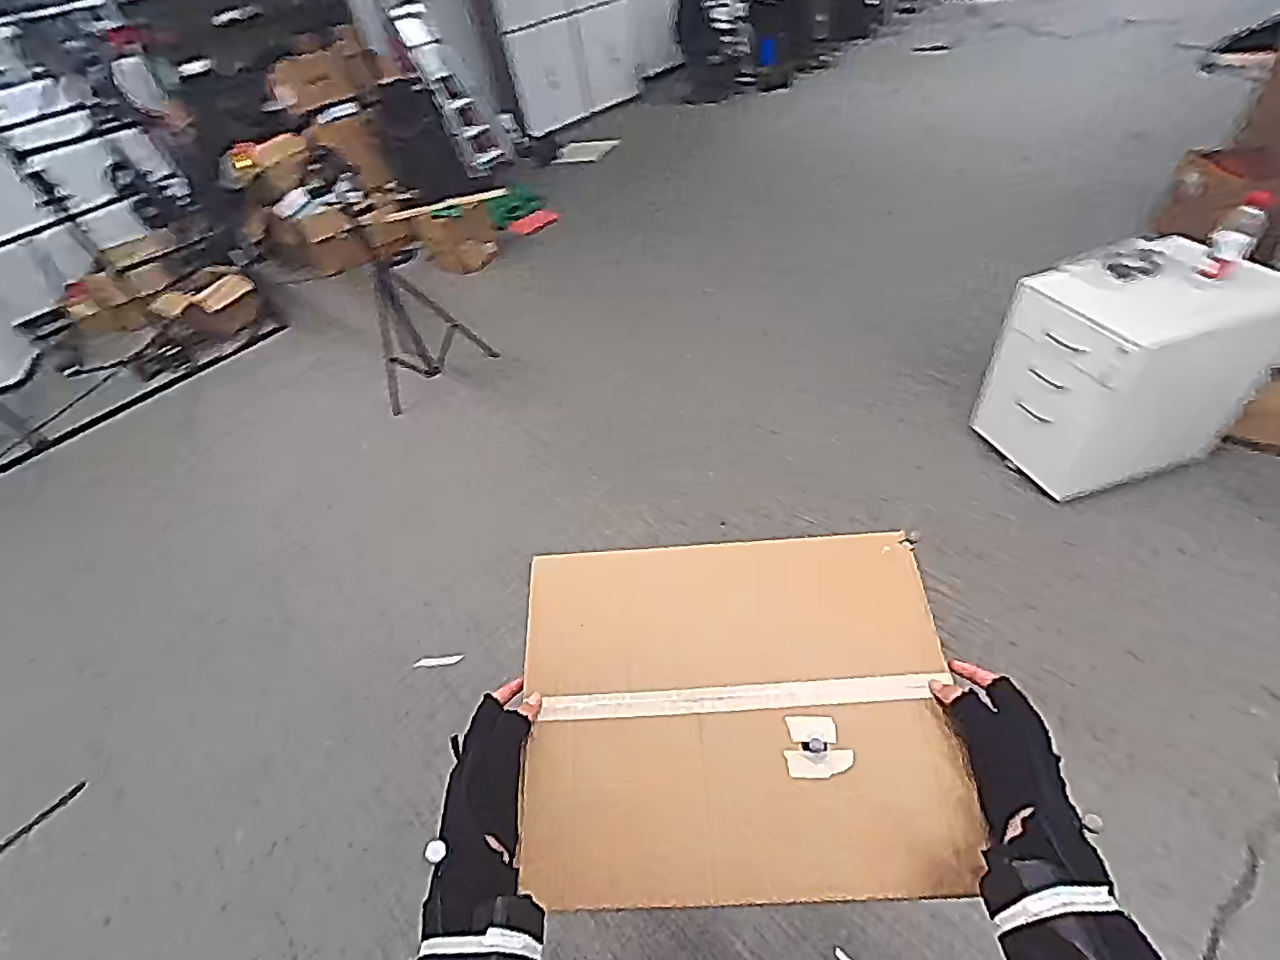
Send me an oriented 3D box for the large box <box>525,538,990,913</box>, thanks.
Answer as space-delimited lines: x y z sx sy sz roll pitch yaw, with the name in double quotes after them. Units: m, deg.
0.096 0.288 0.657 0.408 0.320 0.320 -5 61 2 "large box"
